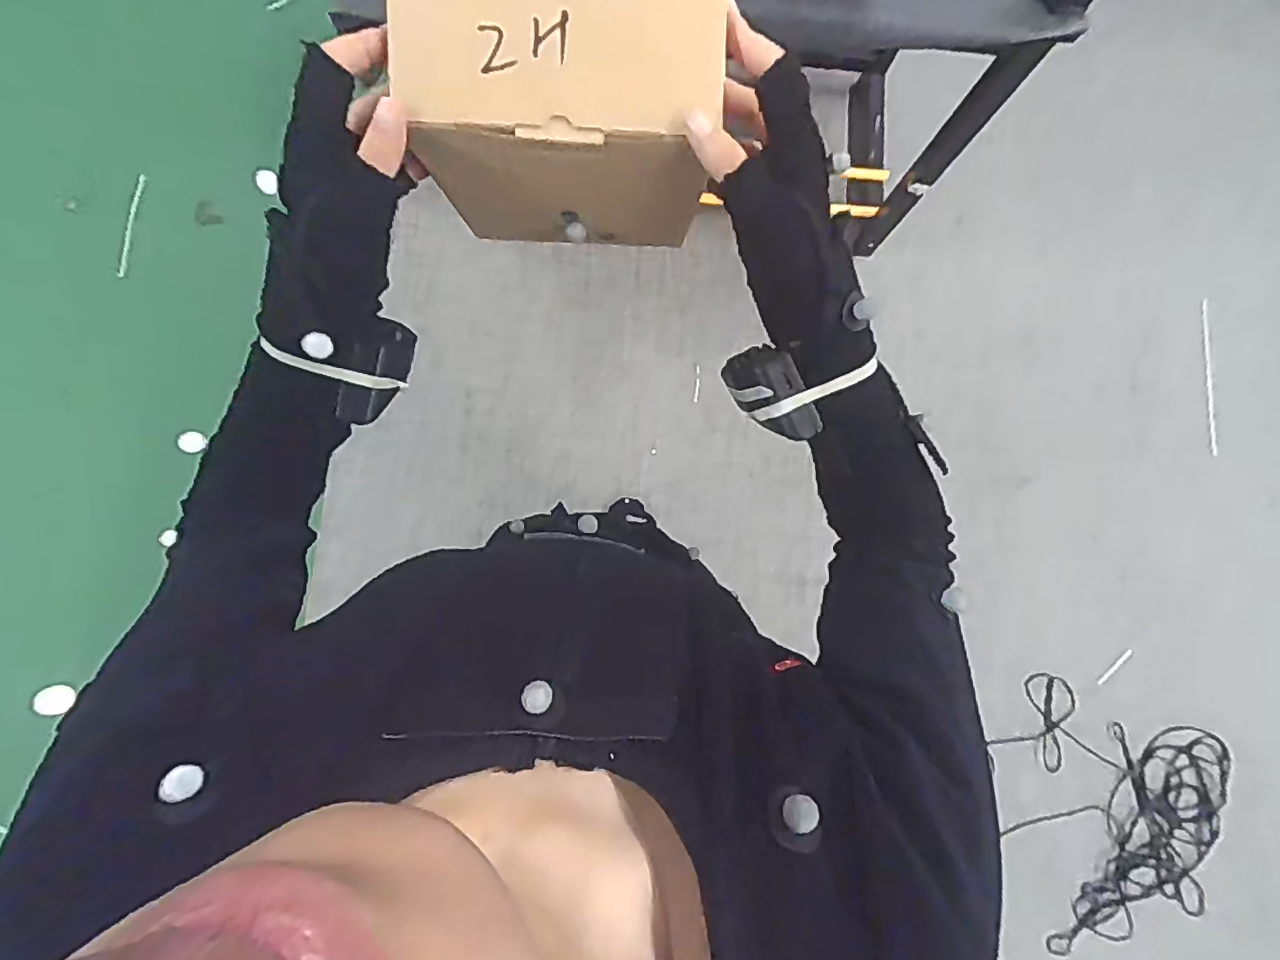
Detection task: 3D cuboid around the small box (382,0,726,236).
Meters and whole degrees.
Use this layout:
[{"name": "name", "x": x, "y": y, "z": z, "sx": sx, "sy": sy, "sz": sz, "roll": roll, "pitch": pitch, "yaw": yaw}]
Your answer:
[{"name": "small box", "x": -0.041, "y": -0.276, "z": 0.335, "sx": 0.168, "sy": 0.176, "sz": 0.179, "roll": 2, "pitch": 95, "yaw": -2}]
